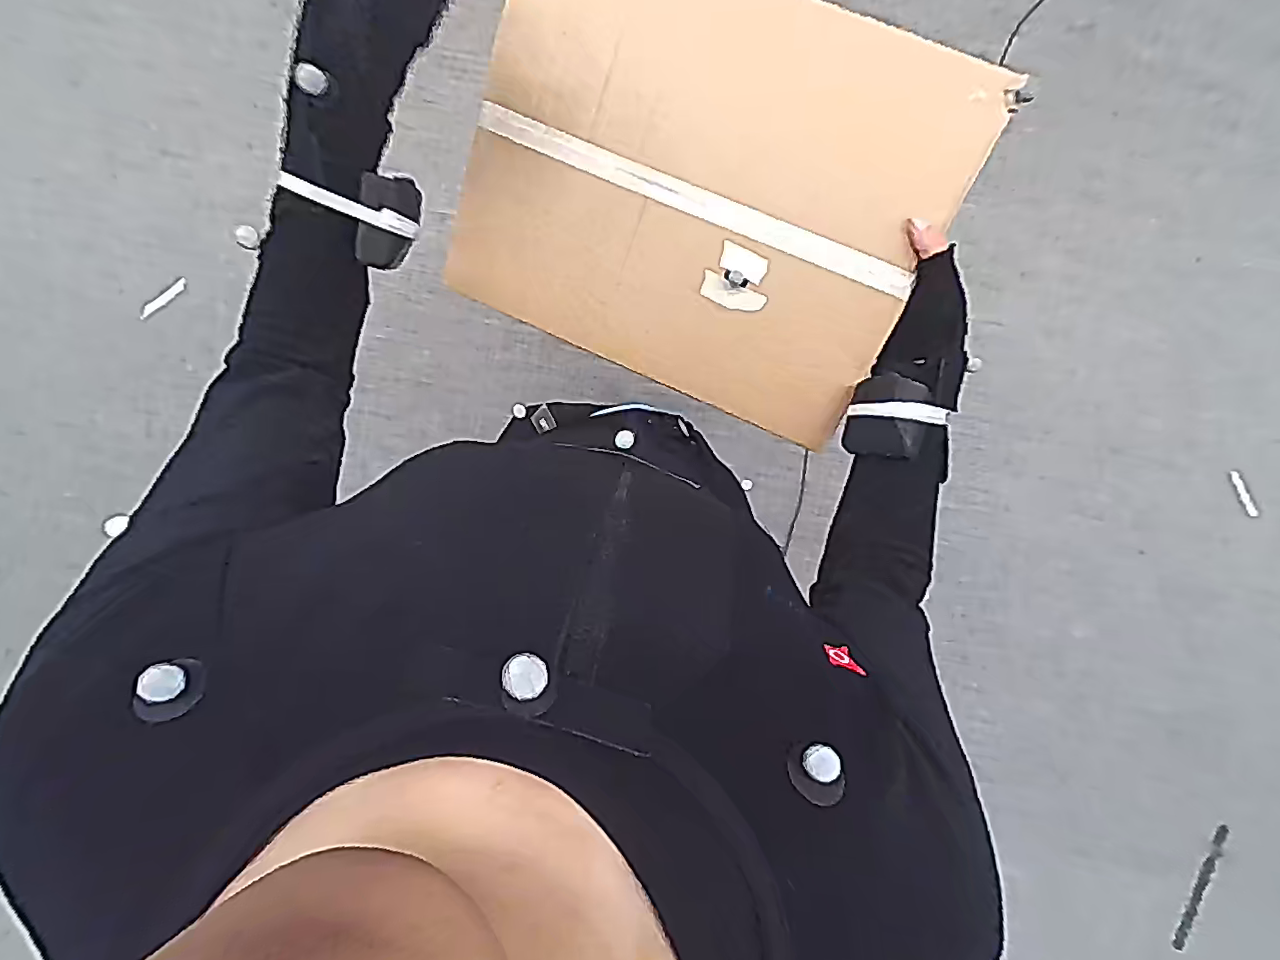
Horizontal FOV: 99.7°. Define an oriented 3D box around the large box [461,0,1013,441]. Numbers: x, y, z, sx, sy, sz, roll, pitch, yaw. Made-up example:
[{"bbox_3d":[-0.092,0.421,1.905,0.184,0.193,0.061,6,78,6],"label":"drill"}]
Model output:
[{"bbox_3d":[0.080,-0.291,0.614,0.408,0.320,0.320,25,113,4],"label":"large box"}]
